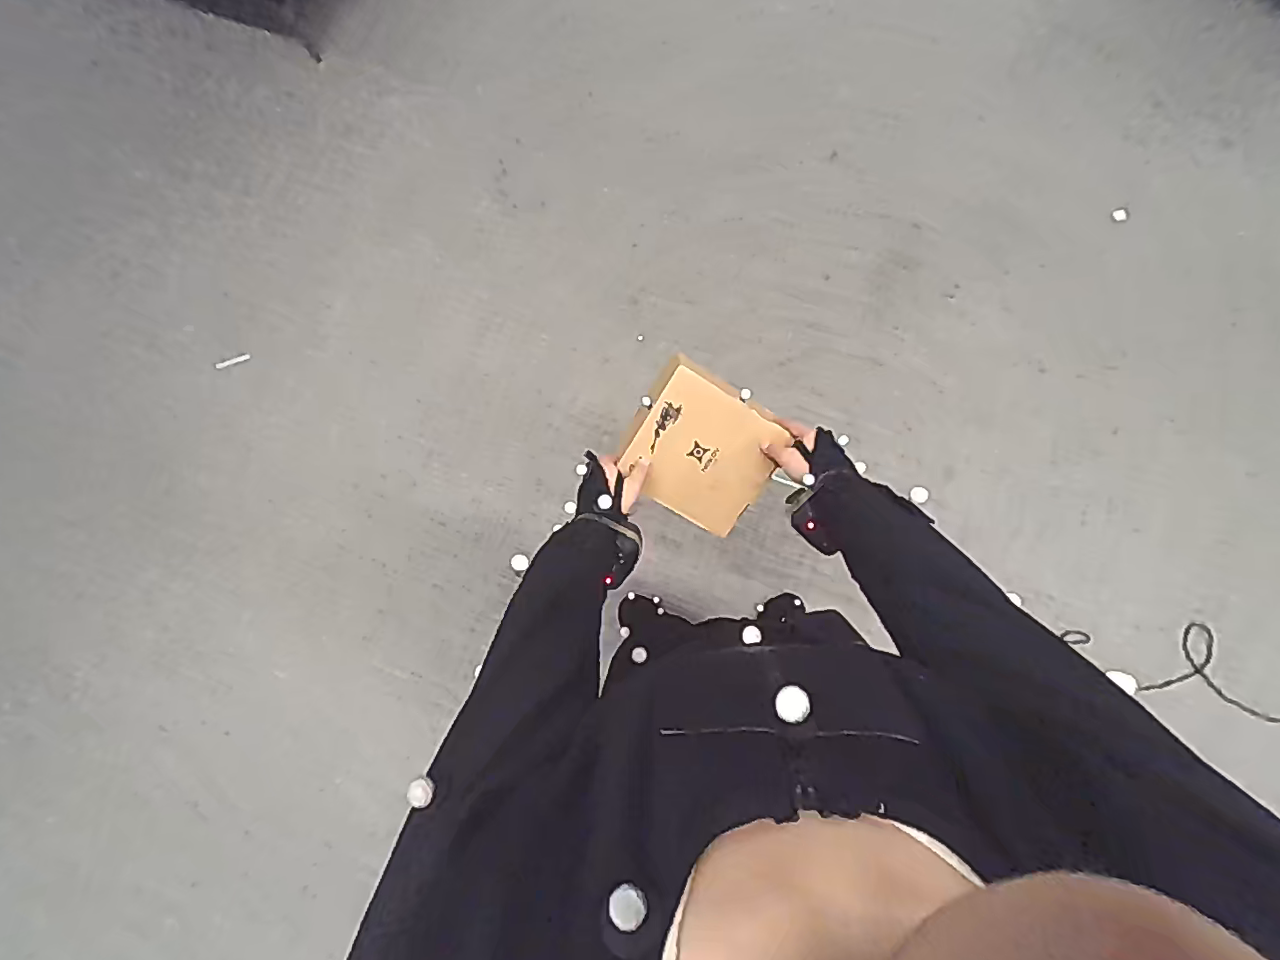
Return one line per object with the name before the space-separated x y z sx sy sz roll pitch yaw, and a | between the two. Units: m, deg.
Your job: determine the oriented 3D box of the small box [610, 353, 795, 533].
small box | 0.078 -0.061 0.748 0.179 0.176 0.168 30 106 -9
